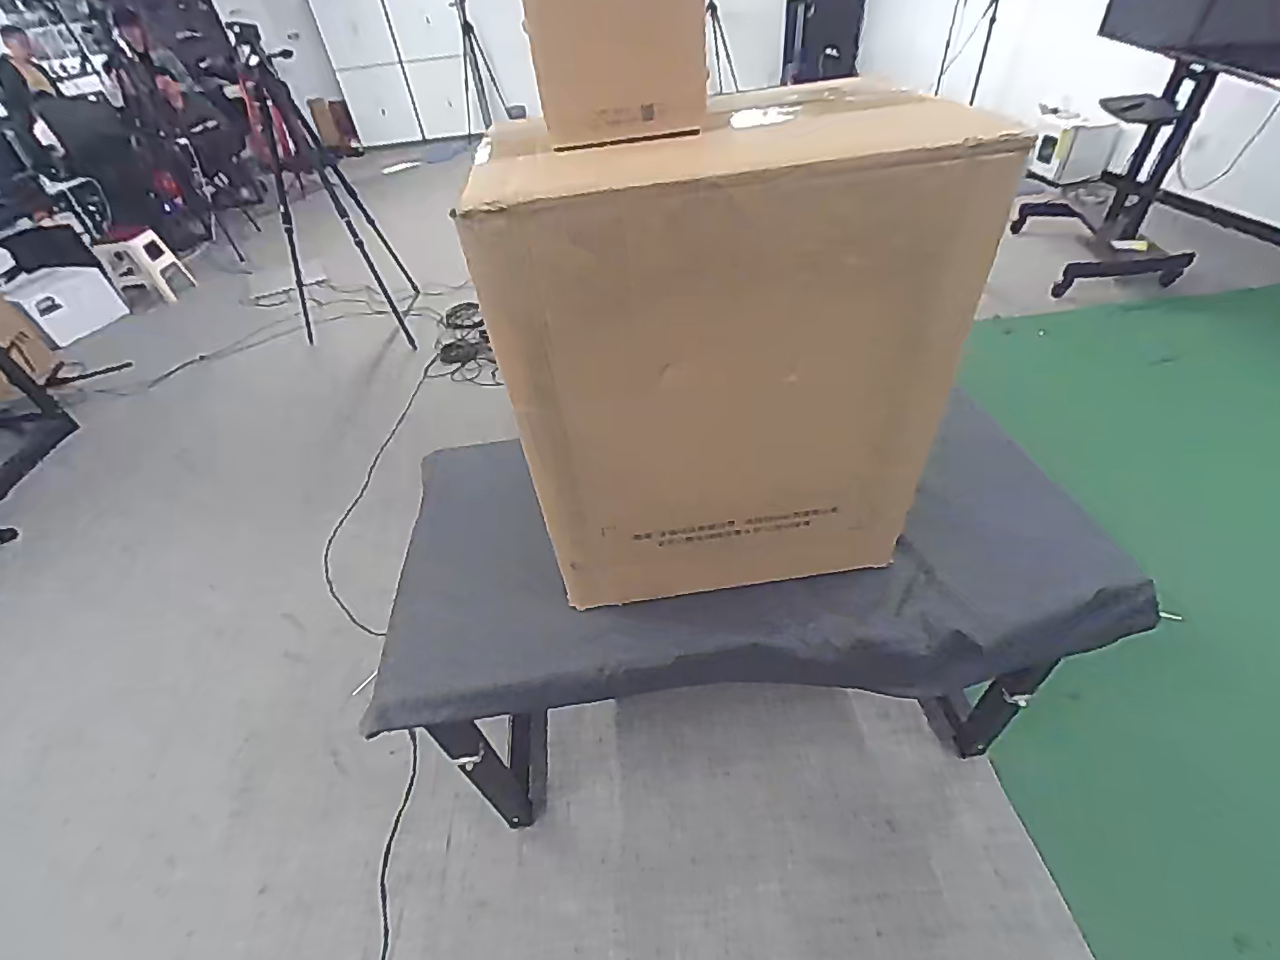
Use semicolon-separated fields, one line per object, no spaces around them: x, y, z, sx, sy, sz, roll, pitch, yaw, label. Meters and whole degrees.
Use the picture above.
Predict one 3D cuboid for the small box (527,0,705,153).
-0.024;-0.464;0.578;0.168;0.176;0.179;-7;41;1;small box
